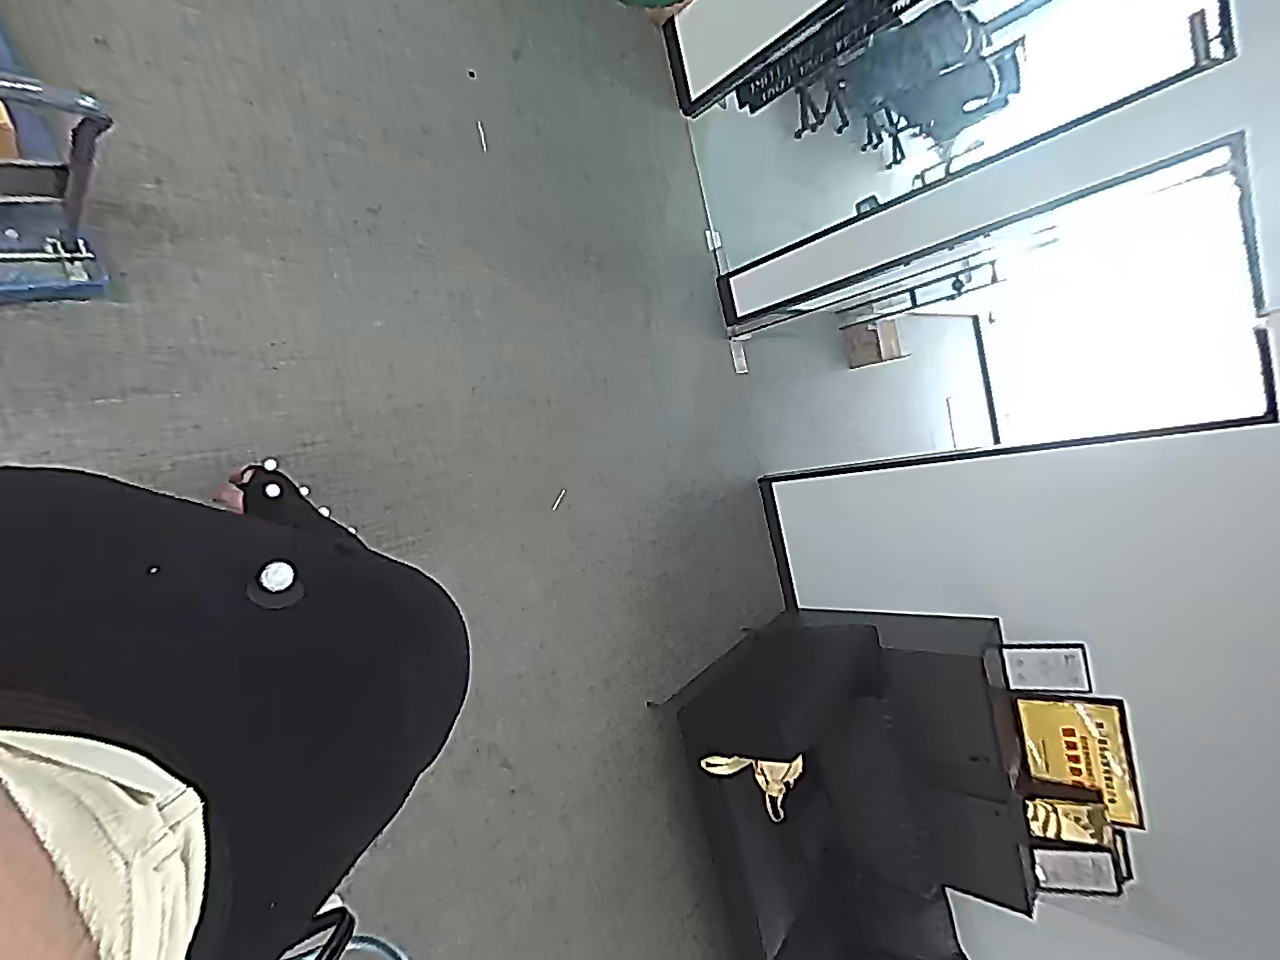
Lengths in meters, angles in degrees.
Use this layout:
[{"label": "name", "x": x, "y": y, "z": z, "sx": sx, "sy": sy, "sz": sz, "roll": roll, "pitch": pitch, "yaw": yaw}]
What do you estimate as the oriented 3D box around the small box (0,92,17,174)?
[{"label": "small box", "x": -1.214, "y": -0.657, "z": 0.918, "sx": 0.168, "sy": 0.176, "sz": 0.179, "roll": -25, "pitch": 104, "yaw": -46}]
